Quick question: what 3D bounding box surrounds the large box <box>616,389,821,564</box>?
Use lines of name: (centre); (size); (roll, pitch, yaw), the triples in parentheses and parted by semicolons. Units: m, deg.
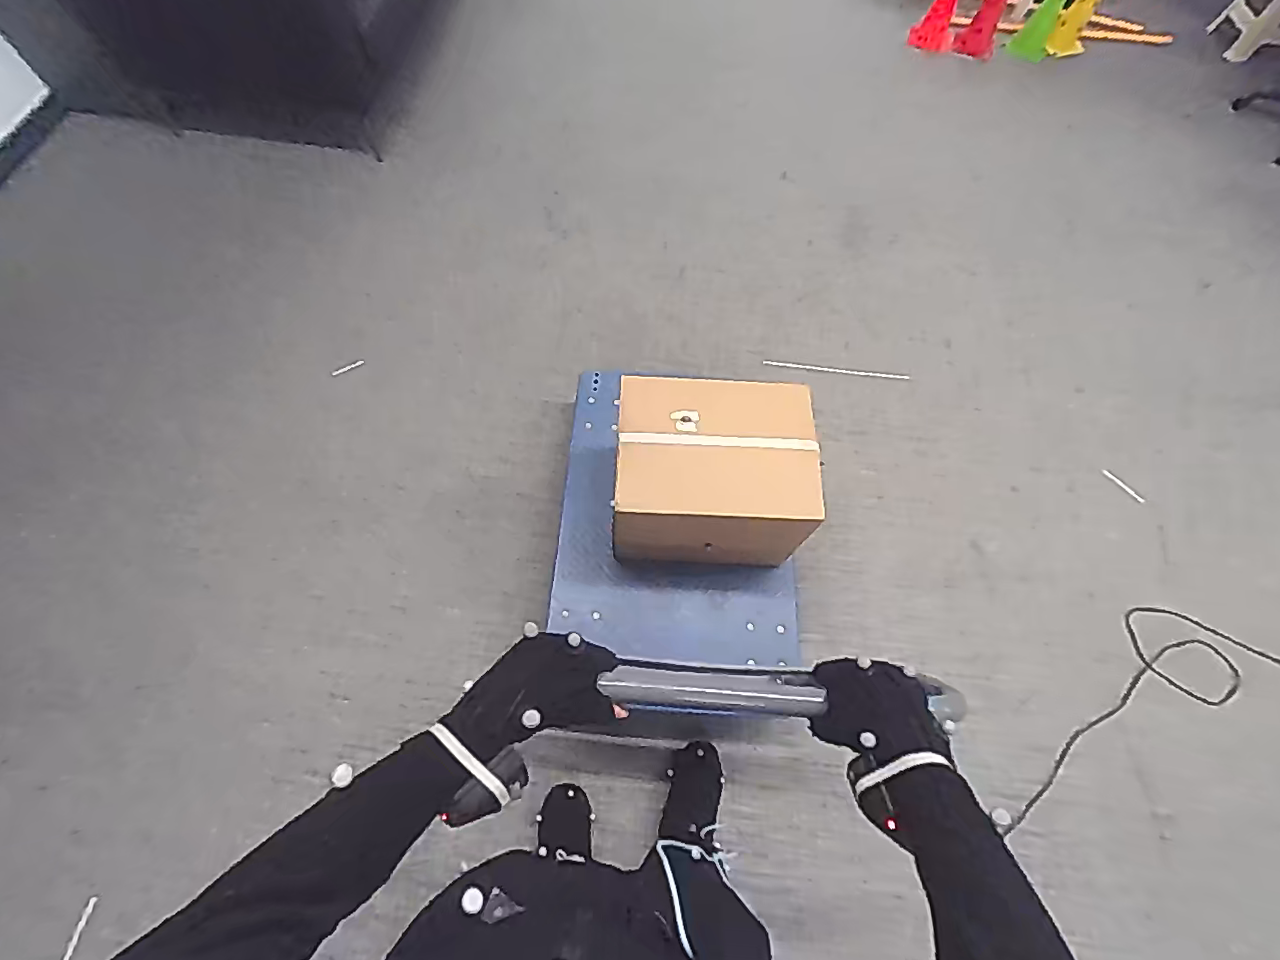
large box: (0.151, 0.005, 1.238); (0.408, 0.320, 0.320); (1, 64, -1)
